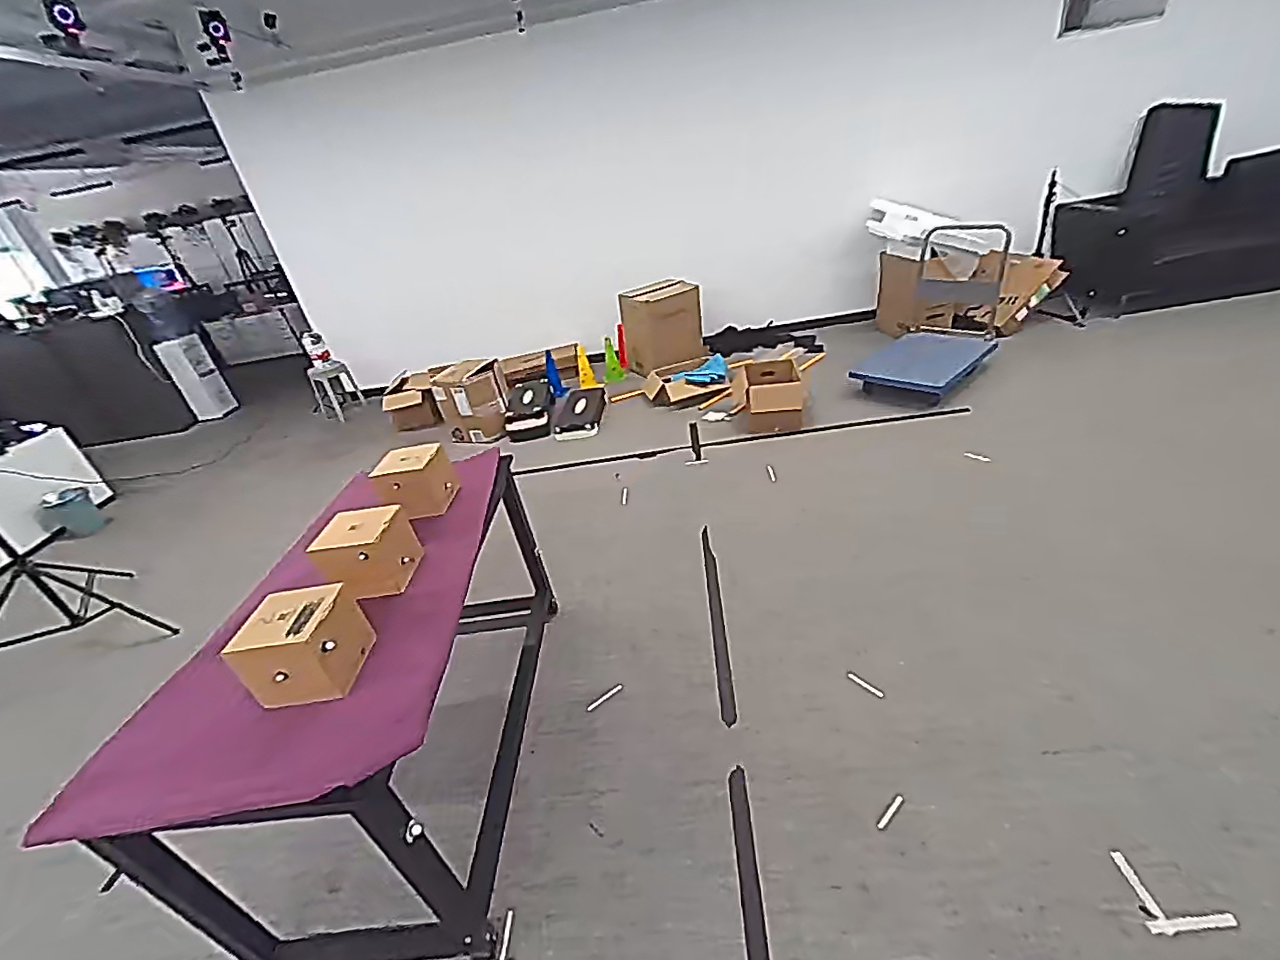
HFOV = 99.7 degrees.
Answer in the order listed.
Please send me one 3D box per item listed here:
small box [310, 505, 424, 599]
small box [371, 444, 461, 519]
[{"bbox_3d":[-0.690,0.187,1.389,0.179,0.176,0.168,-8,31,4],"label":"small box"},{"bbox_3d":[-0.688,0.009,1.679,0.179,0.176,0.168,-8,31,7],"label":"small box"}]
